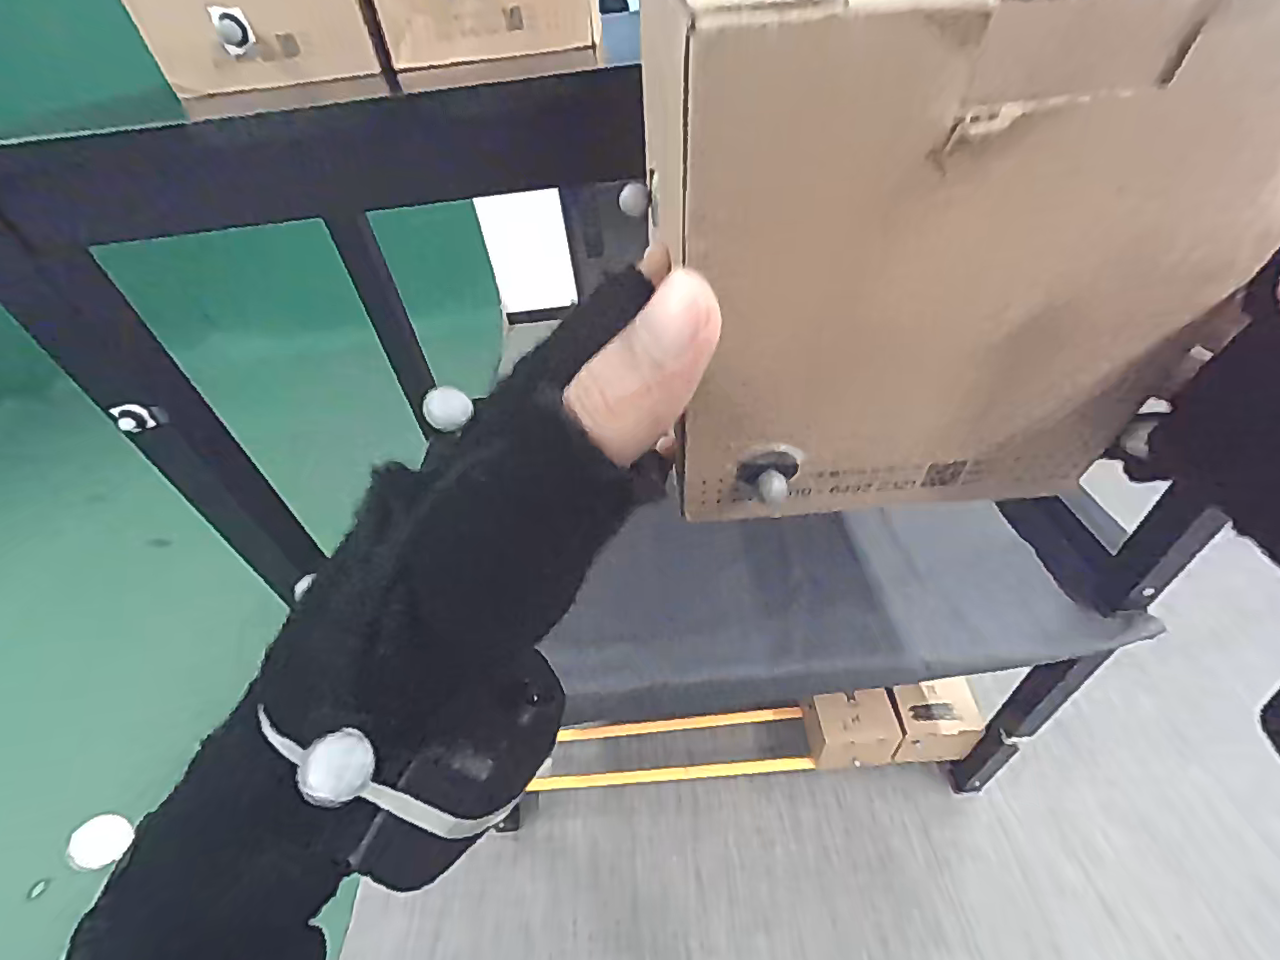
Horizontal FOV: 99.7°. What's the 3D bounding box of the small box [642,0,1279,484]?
[{"bbox_3d":[0.089,-0.110,0.234,0.168,0.176,0.179,-3,48,0],"label":"small box"}]
